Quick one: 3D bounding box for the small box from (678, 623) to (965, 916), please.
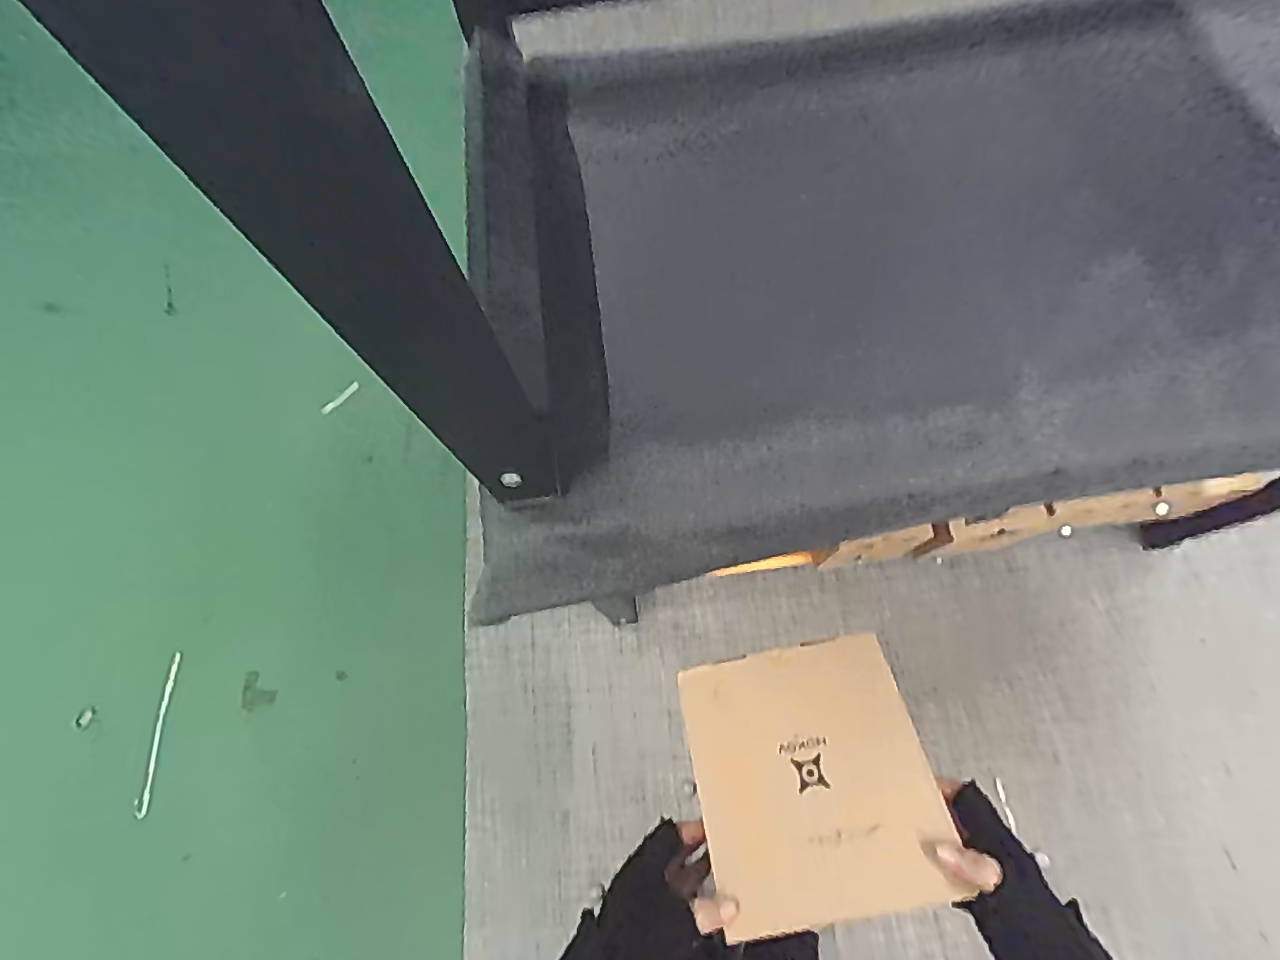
[{"bbox_3d":[0.132,0.248,0.467,0.168,0.176,0.179,-12,55,3],"label":"small box"}]
